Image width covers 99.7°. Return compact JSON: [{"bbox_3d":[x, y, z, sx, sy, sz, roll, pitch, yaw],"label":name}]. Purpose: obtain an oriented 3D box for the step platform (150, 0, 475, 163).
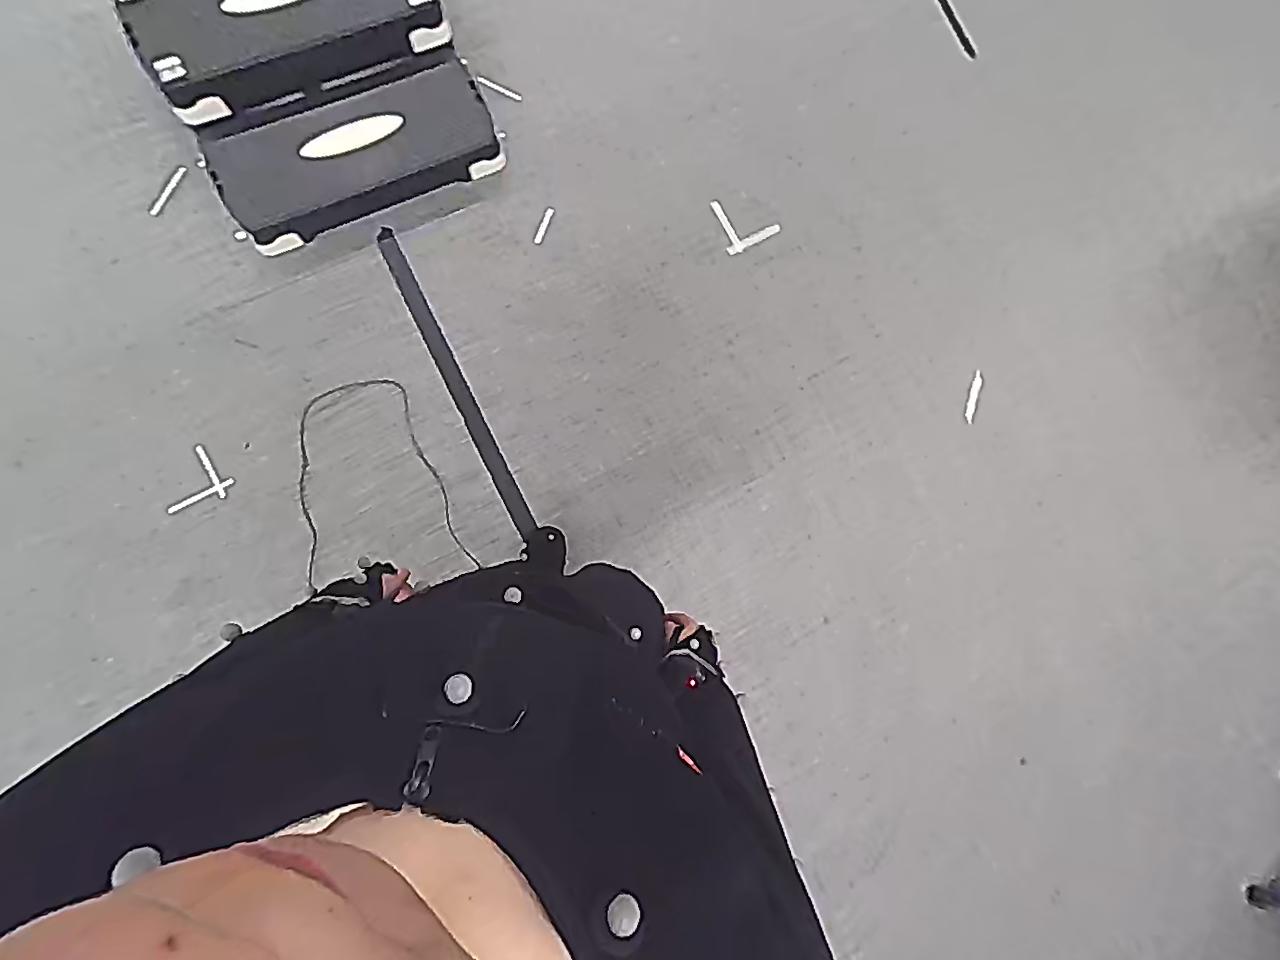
[{"bbox_3d":[-0.782,-1.054,1.341,0.684,0.204,0.286,-22,87,-10],"label":"step platform"}]
